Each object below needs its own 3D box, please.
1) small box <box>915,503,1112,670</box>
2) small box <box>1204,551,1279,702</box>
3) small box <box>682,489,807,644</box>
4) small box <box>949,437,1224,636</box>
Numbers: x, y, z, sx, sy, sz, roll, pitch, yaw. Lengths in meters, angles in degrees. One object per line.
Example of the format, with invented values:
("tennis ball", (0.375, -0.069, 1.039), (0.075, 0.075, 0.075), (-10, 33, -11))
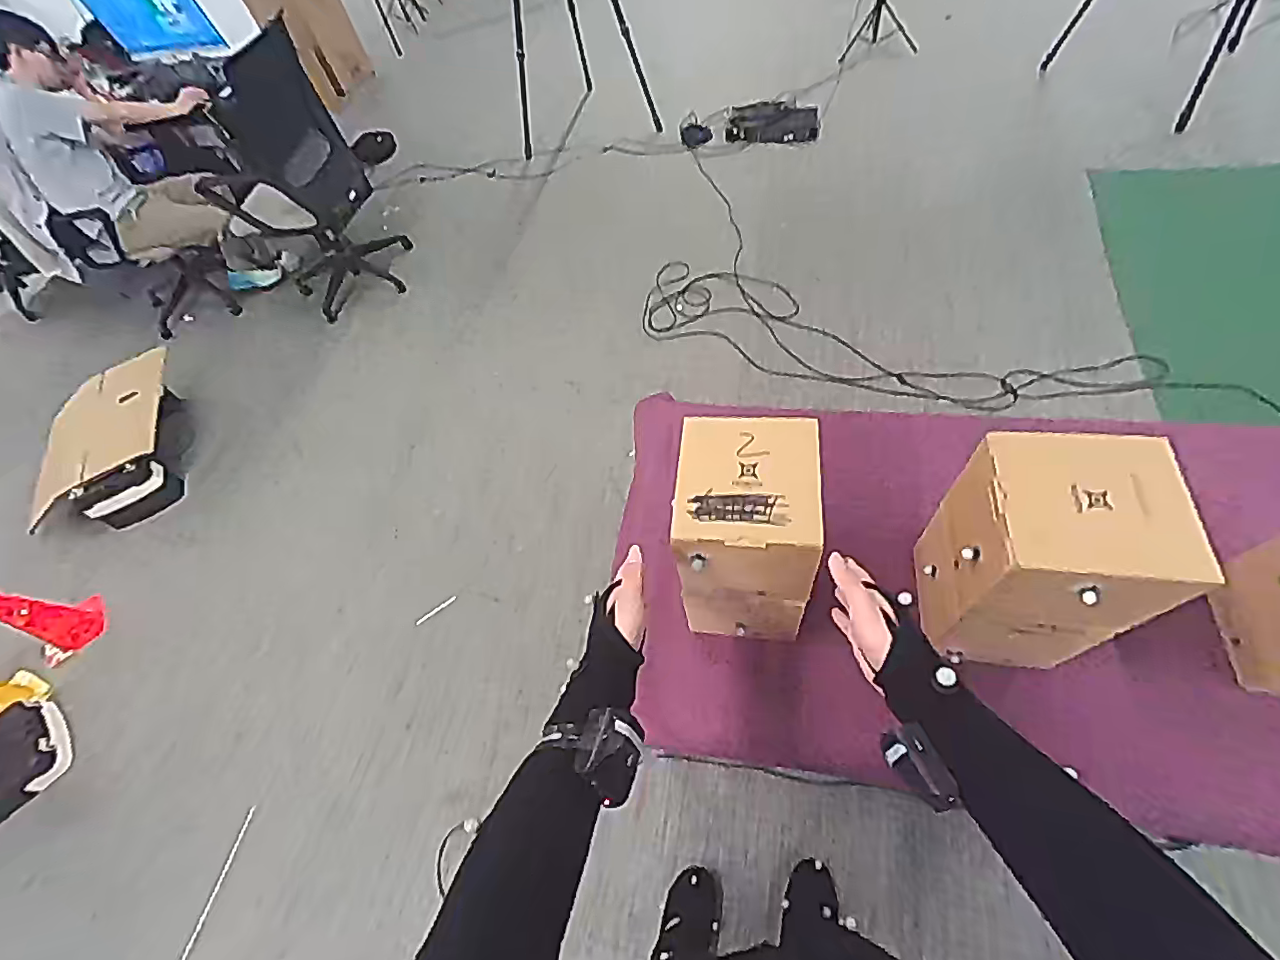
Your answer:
("small box", (0.499, 0.153, 0.755), (0.168, 0.176, 0.179), (4, 58, 12))
("small box", (0.879, 0.183, 0.667), (0.179, 0.176, 0.168), (5, 58, 13))
("small box", (0.160, 0.133, 0.825), (0.168, 0.176, 0.179), (3, 58, 12))
("small box", (0.474, 0.069, 0.617), (0.179, 0.176, 0.168), (4, 59, 12))
